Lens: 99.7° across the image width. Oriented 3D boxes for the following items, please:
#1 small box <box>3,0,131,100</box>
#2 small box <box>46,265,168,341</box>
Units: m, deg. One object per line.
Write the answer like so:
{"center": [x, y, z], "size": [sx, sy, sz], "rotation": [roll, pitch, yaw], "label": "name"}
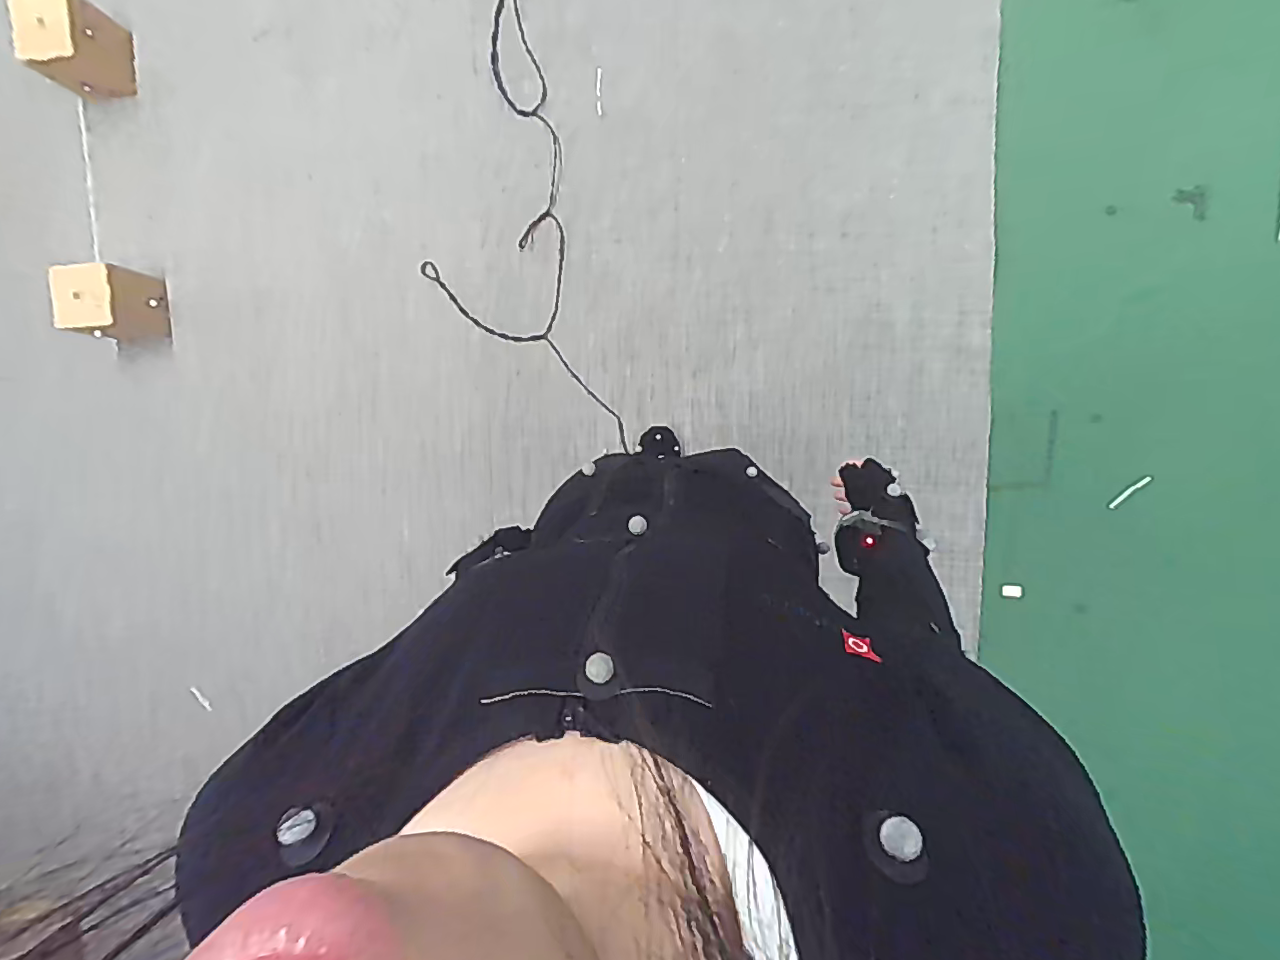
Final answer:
{"center": [-1.530, -1.169, 1.453], "size": [0.168, 0.176, 0.179], "rotation": [-2, 96, 5], "label": "small box"}
{"center": [-1.482, -0.488, 1.512], "size": [0.179, 0.176, 0.168], "rotation": [-2, 95, 6], "label": "small box"}
